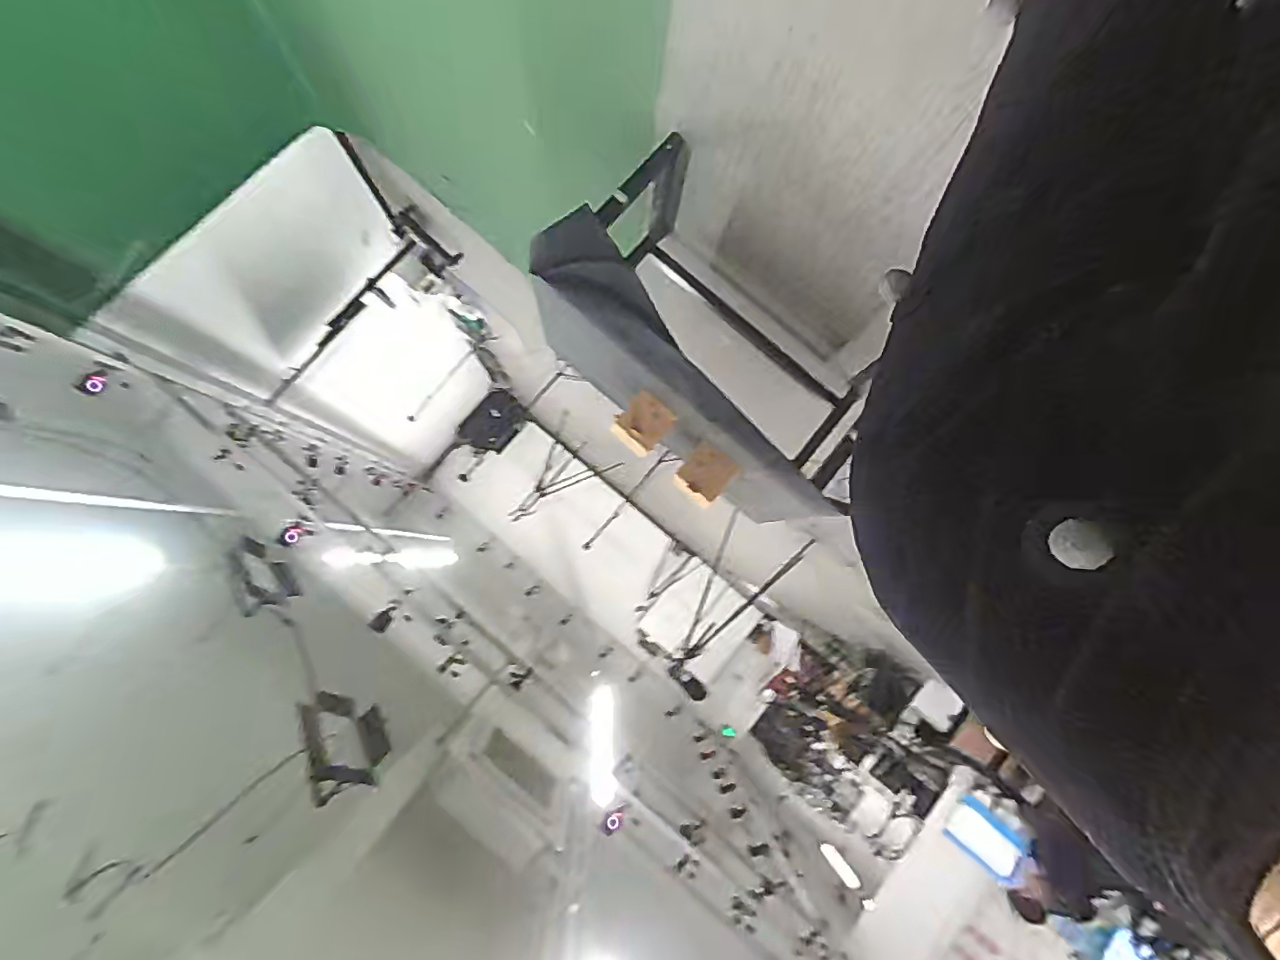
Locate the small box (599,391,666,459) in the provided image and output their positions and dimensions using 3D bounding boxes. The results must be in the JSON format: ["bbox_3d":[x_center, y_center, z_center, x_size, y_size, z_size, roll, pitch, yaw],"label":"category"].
[{"bbox_3d":[-0.027,-0.199,1.972,0.168,0.176,0.179,42,170,-5],"label":"small box"}]

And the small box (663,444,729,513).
[{"bbox_3d":[0.201,-0.006,1.947,0.168,0.176,0.179,41,172,9],"label":"small box"}]
